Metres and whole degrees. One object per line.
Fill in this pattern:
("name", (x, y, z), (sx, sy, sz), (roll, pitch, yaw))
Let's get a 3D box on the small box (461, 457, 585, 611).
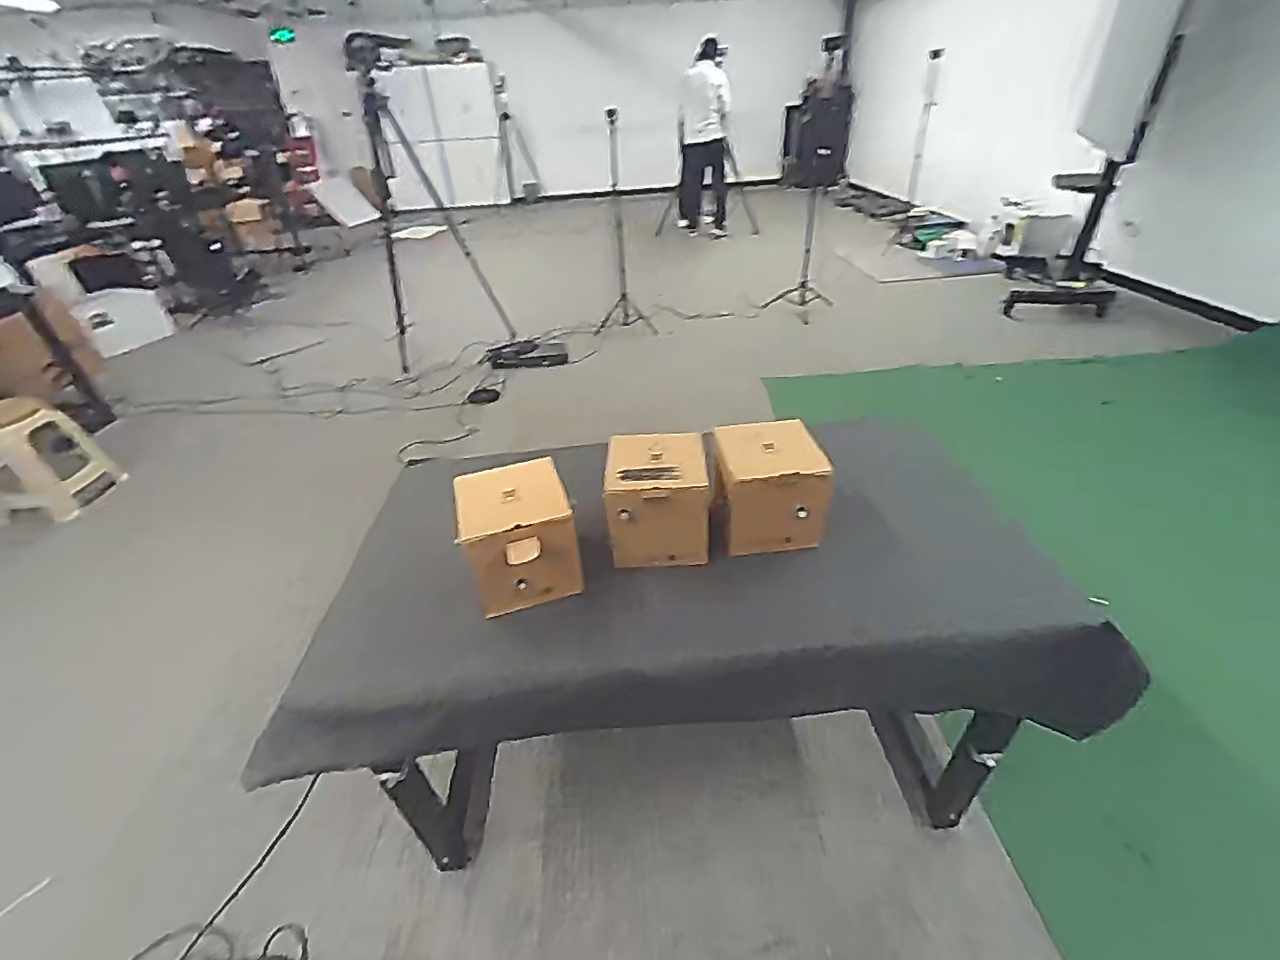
("small box", (-0.195, 0.087, 0.905), (0.168, 0.176, 0.179), (-13, 37, -14))
